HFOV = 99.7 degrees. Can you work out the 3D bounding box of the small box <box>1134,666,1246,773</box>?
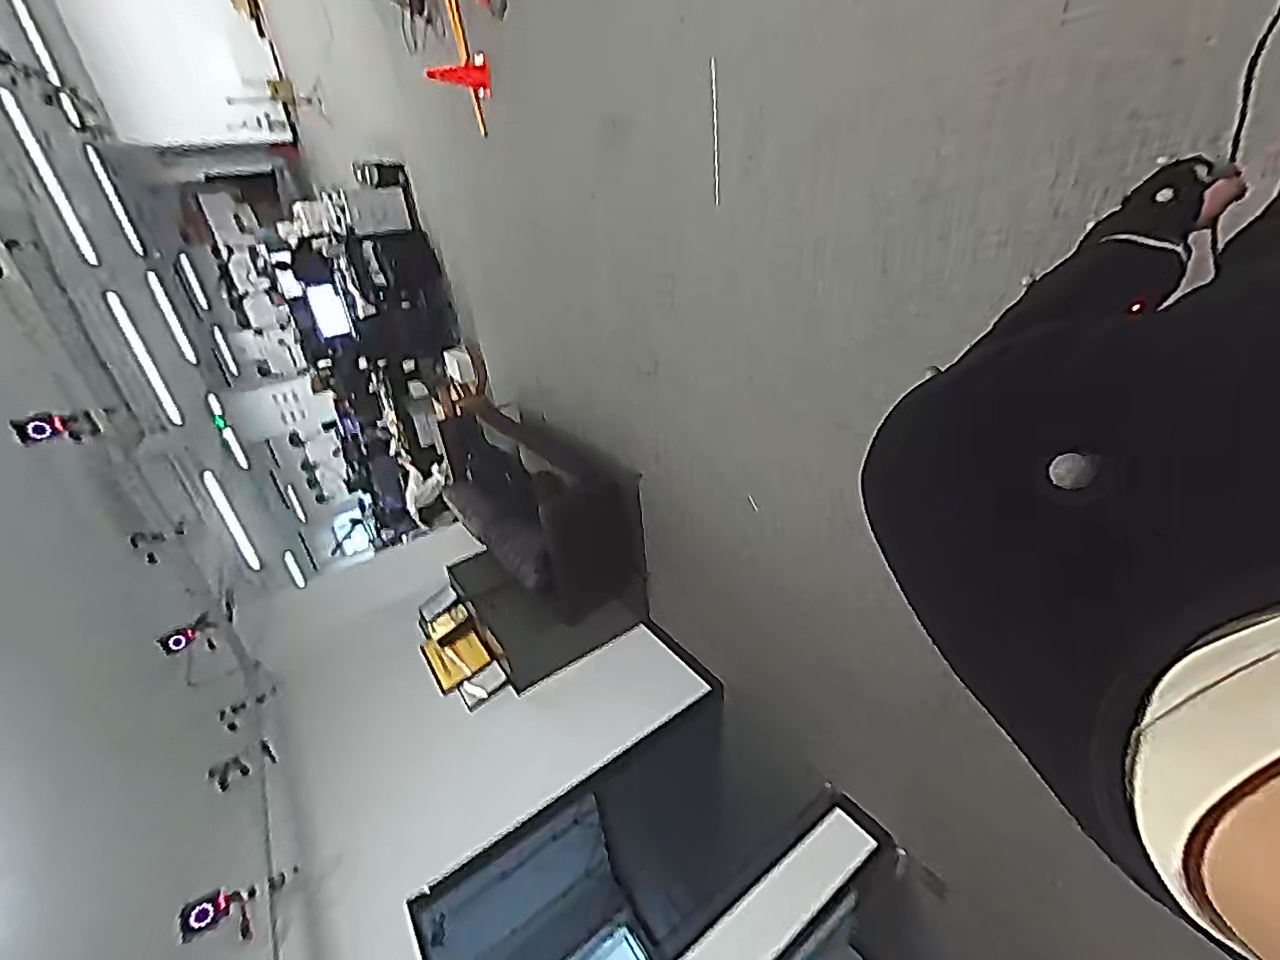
[{"bbox_3d":[1.244,0.571,1.254,0.168,0.176,0.179,36,136,44],"label":"small box"}]
